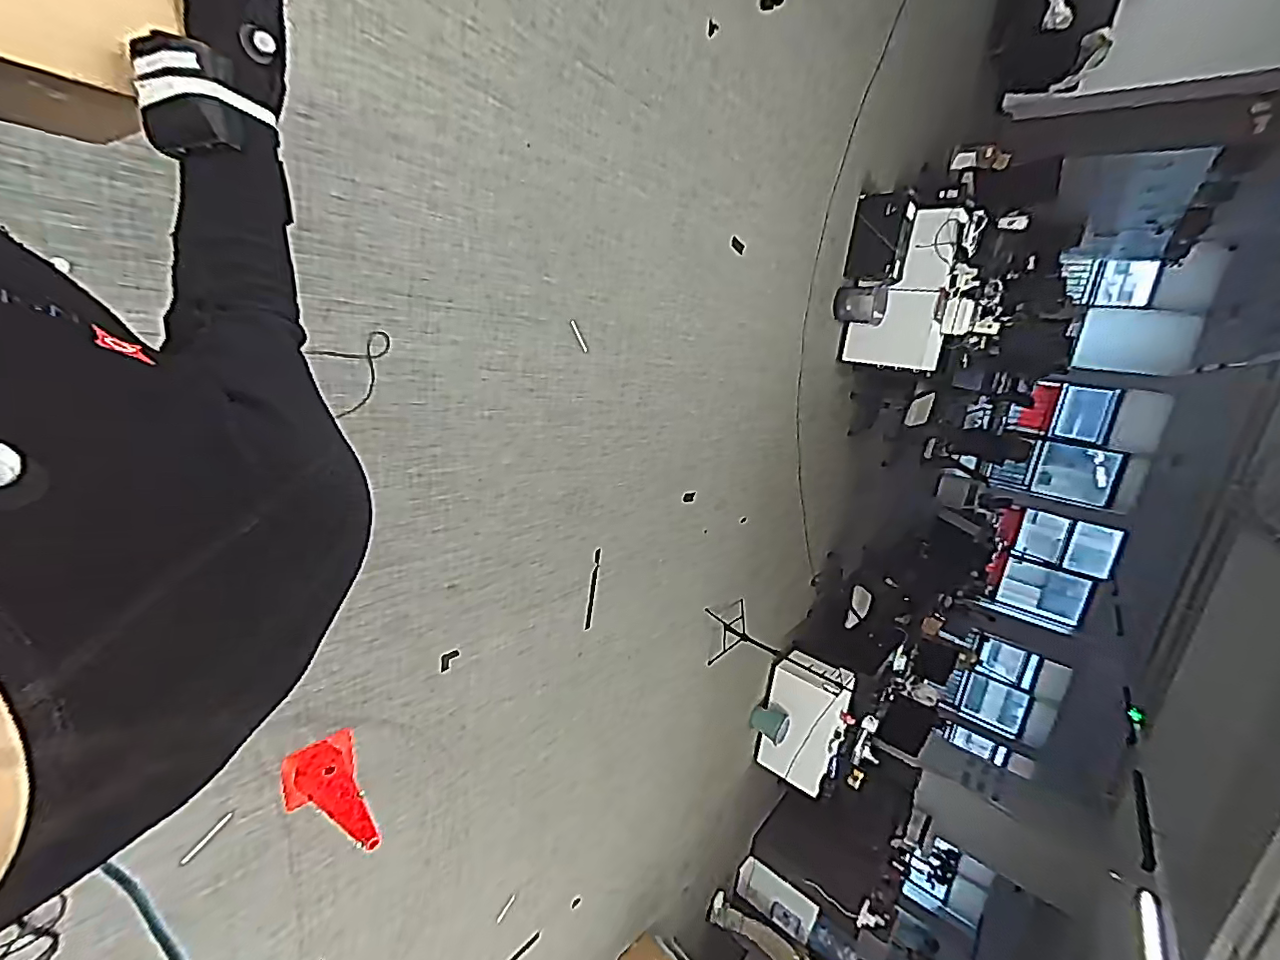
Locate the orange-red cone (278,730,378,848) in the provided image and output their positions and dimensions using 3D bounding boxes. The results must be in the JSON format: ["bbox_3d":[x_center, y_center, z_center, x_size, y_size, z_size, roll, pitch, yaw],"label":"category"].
[{"bbox_3d":[-0.855,0.923,1.546,0.198,0.360,0.199,-14,115,-50],"label":"orange-red cone"}]

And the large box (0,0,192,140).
[{"bbox_3d":[-0.555,-0.429,0.291,0.408,0.320,0.320,-14,118,-52],"label":"large box"}]
